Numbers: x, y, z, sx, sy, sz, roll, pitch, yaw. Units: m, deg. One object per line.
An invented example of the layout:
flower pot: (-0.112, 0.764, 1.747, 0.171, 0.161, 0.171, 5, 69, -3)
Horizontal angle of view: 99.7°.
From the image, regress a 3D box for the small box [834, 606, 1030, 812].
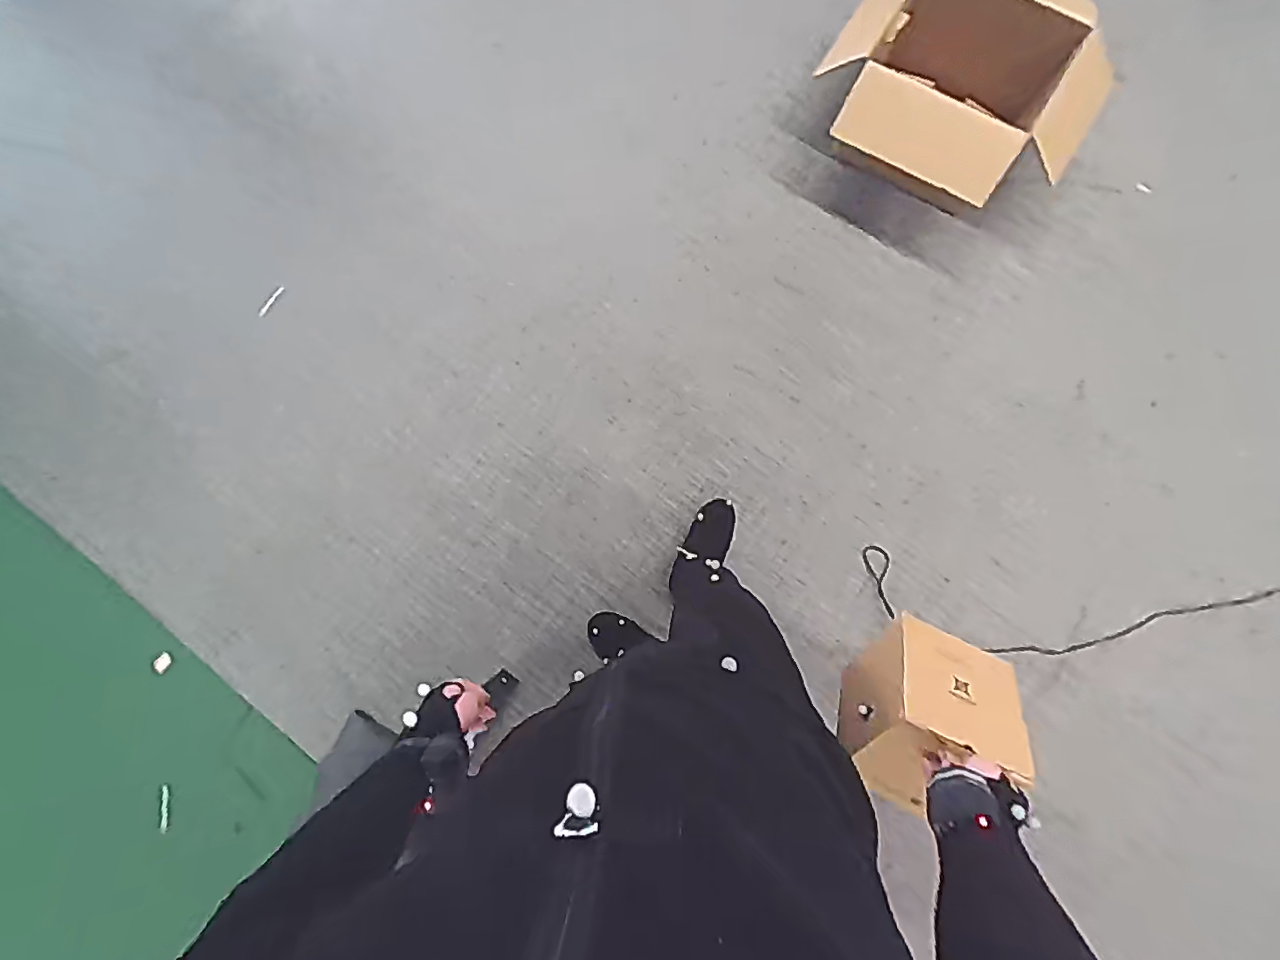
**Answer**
small box: (0.389, 0.319, 0.751, 0.168, 0.179, 0.176, 27, 129, 5)
